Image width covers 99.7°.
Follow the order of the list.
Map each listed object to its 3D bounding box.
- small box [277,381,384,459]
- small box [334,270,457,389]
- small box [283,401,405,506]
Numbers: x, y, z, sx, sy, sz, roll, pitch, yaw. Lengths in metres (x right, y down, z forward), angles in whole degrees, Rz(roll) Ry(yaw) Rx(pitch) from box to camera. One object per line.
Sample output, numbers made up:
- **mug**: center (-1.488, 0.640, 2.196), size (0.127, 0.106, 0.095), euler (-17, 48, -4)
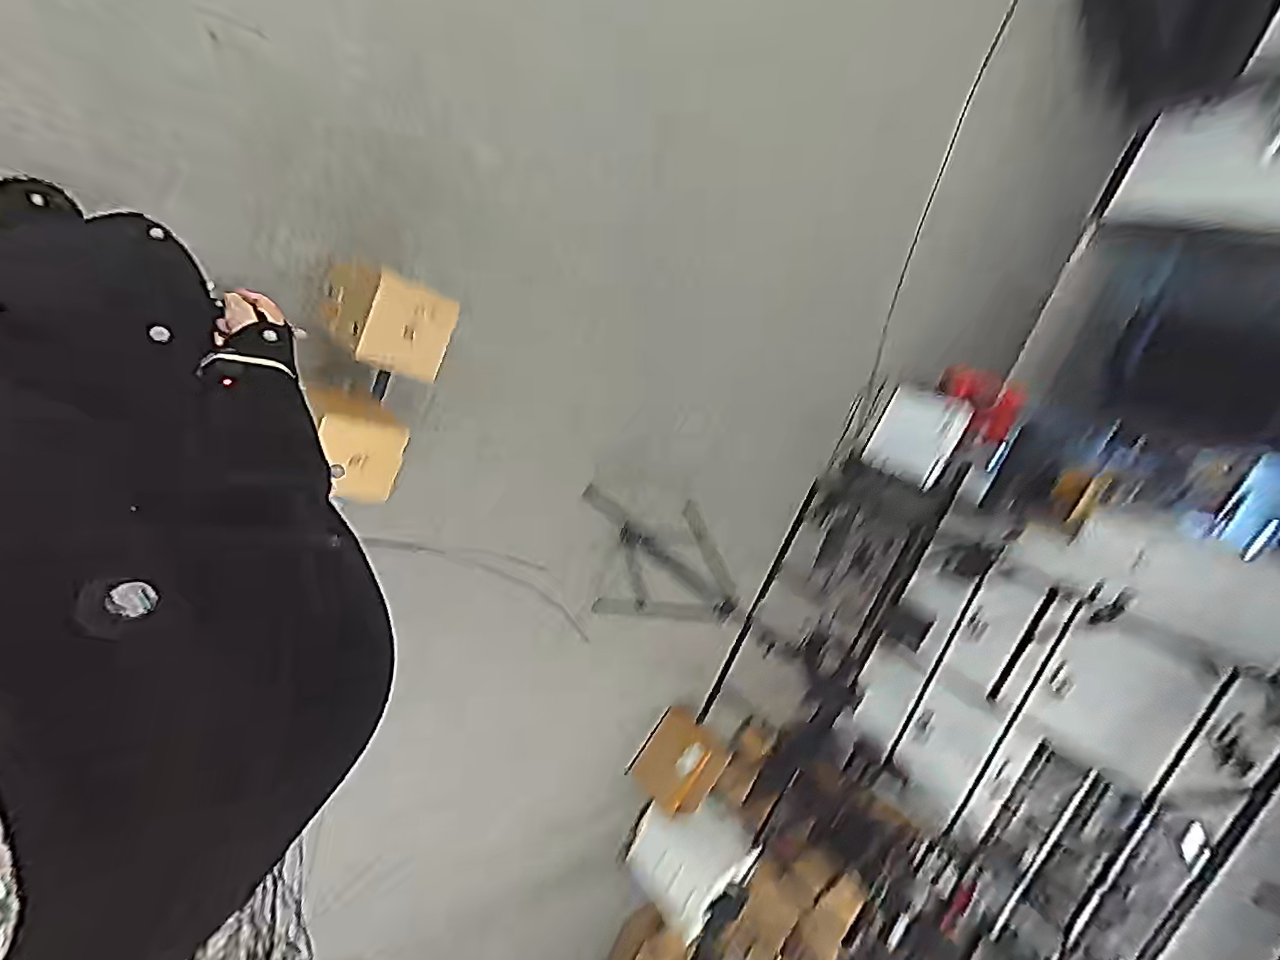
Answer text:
- **small box**: center (-0.748, -0.116, 1.299), size (0.168, 0.176, 0.179), euler (16, 100, -47)
- **small box**: center (-0.524, -0.320, 1.149), size (0.168, 0.176, 0.179), euler (16, 101, -48)
- **small box**: center (-0.651, -0.061, 1.181), size (0.179, 0.176, 0.168), euler (13, 103, -47)
